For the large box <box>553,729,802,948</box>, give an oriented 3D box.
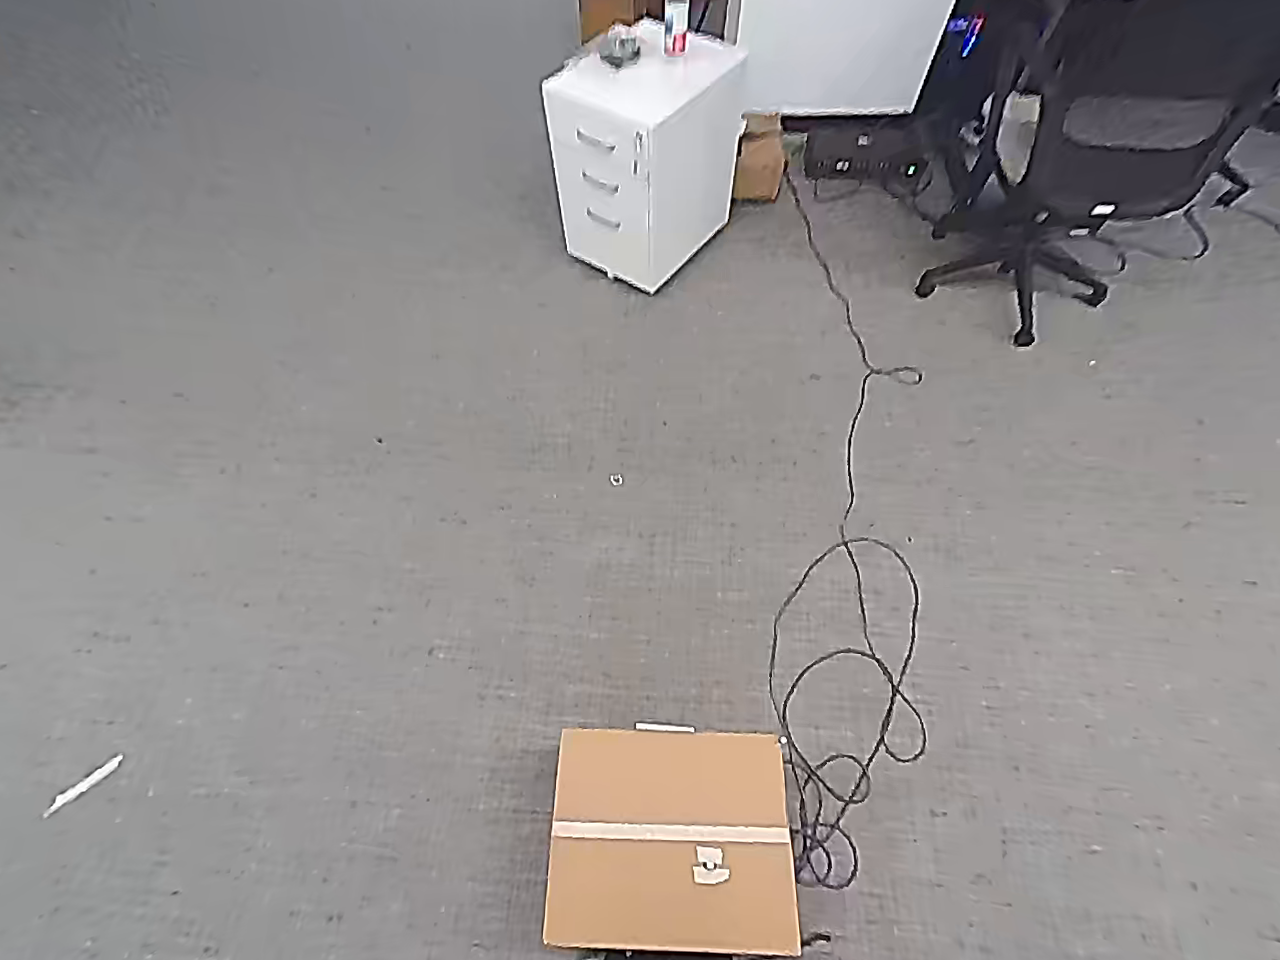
[{"bbox_3d":[0.060,0.679,1.055,0.408,0.320,0.320,1,59,1],"label":"large box"}]
